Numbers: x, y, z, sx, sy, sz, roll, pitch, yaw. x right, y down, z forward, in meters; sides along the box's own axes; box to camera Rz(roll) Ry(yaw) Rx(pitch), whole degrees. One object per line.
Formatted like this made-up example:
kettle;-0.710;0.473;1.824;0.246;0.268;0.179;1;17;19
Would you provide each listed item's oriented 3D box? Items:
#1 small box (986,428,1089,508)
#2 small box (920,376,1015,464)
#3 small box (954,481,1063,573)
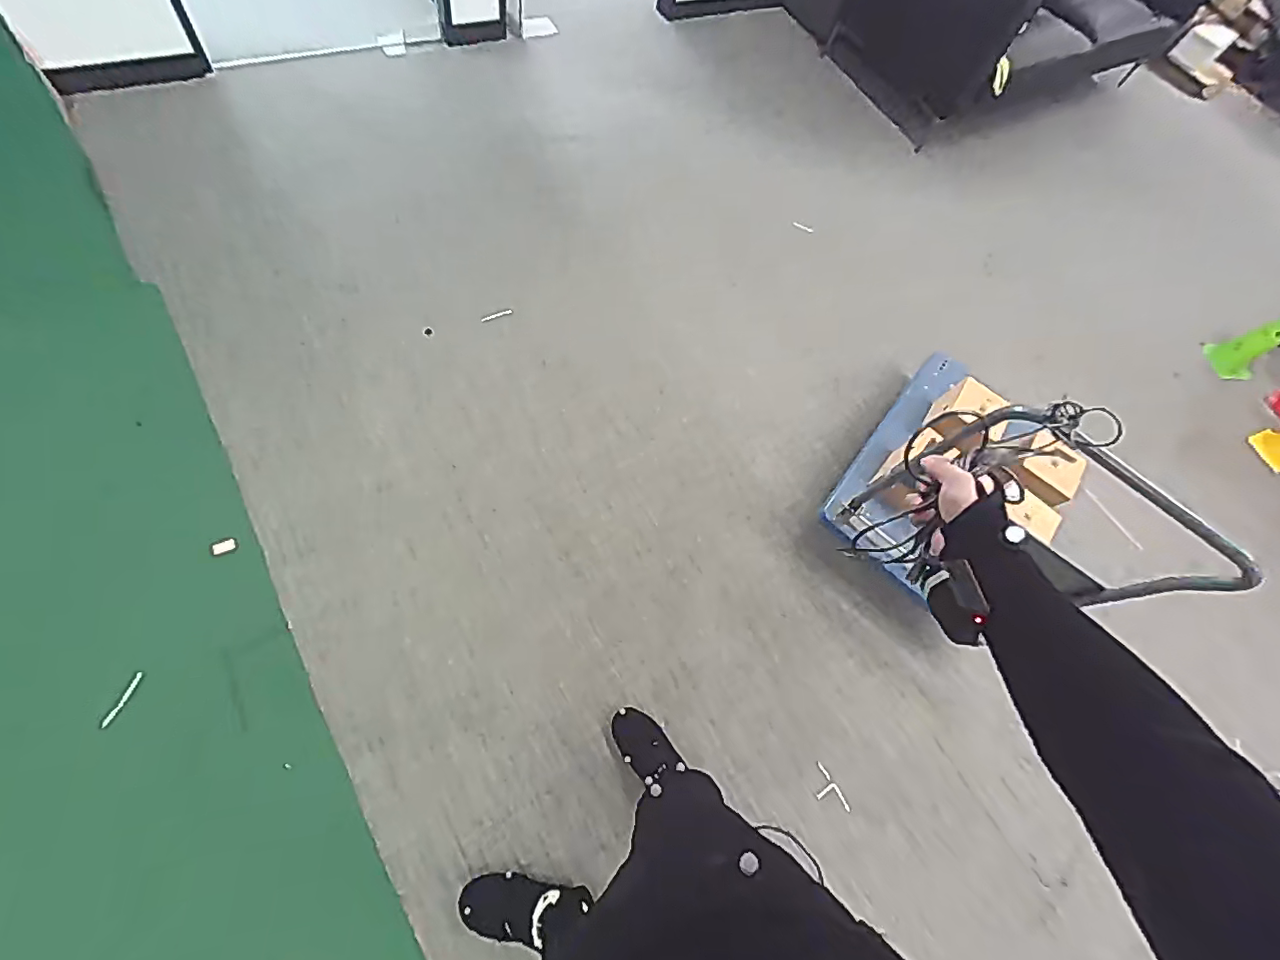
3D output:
small box;1.209;-0.018;1.655;0.168;0.176;0.179;39;65;8
small box;1.016;-0.182;1.691;0.168;0.176;0.179;37;64;6
small box;1.051;0.139;1.554;0.168;0.176;0.179;41;65;9
